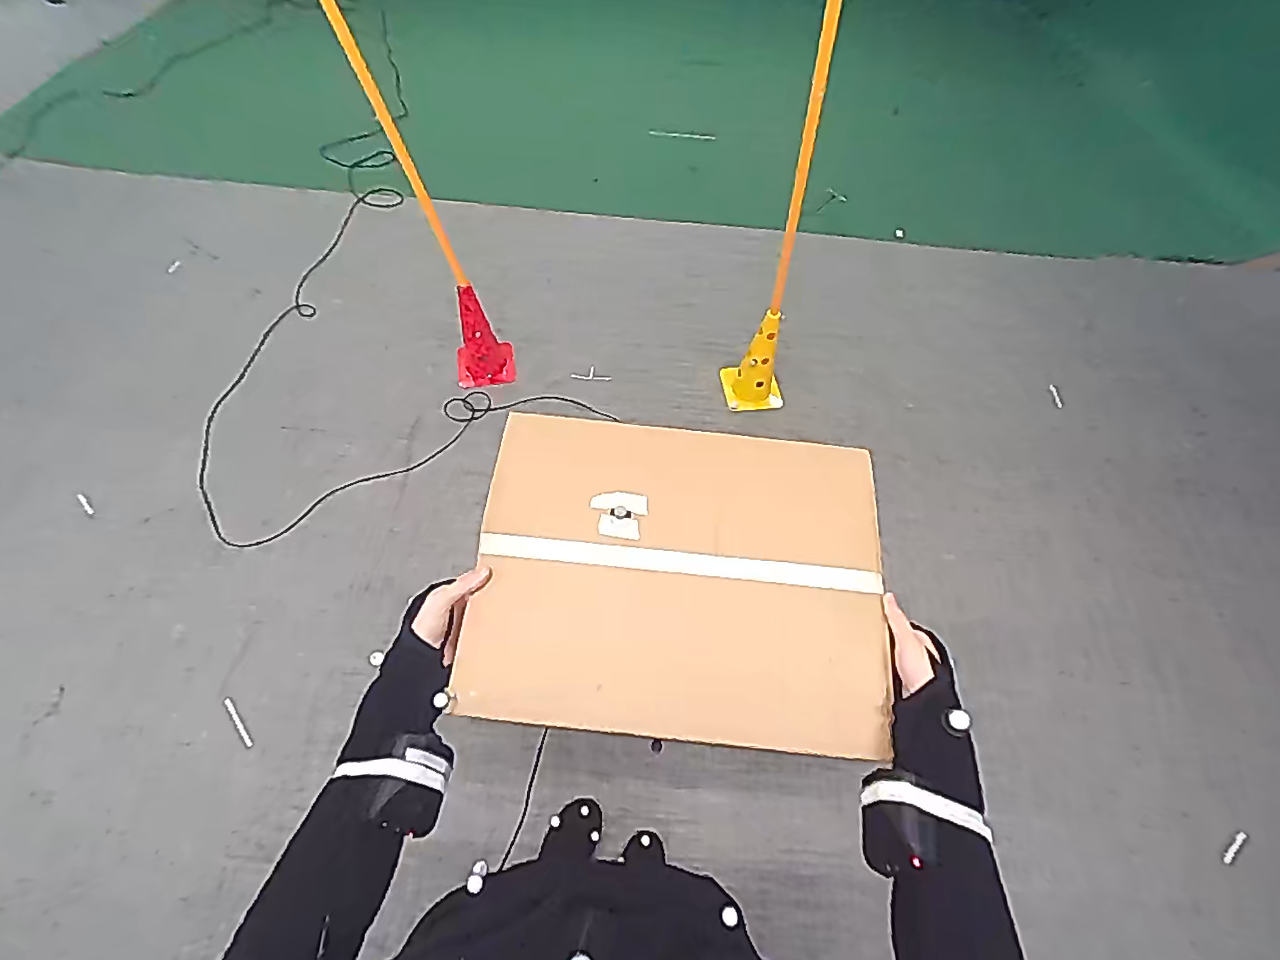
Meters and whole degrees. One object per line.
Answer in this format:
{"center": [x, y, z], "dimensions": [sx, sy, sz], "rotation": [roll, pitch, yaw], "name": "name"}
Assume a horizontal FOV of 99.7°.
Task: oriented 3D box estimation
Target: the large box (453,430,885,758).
{"center": [0.036, 0.157, 0.687], "dimensions": [0.408, 0.320, 0.320], "rotation": [5, 64, 1], "name": "large box"}
